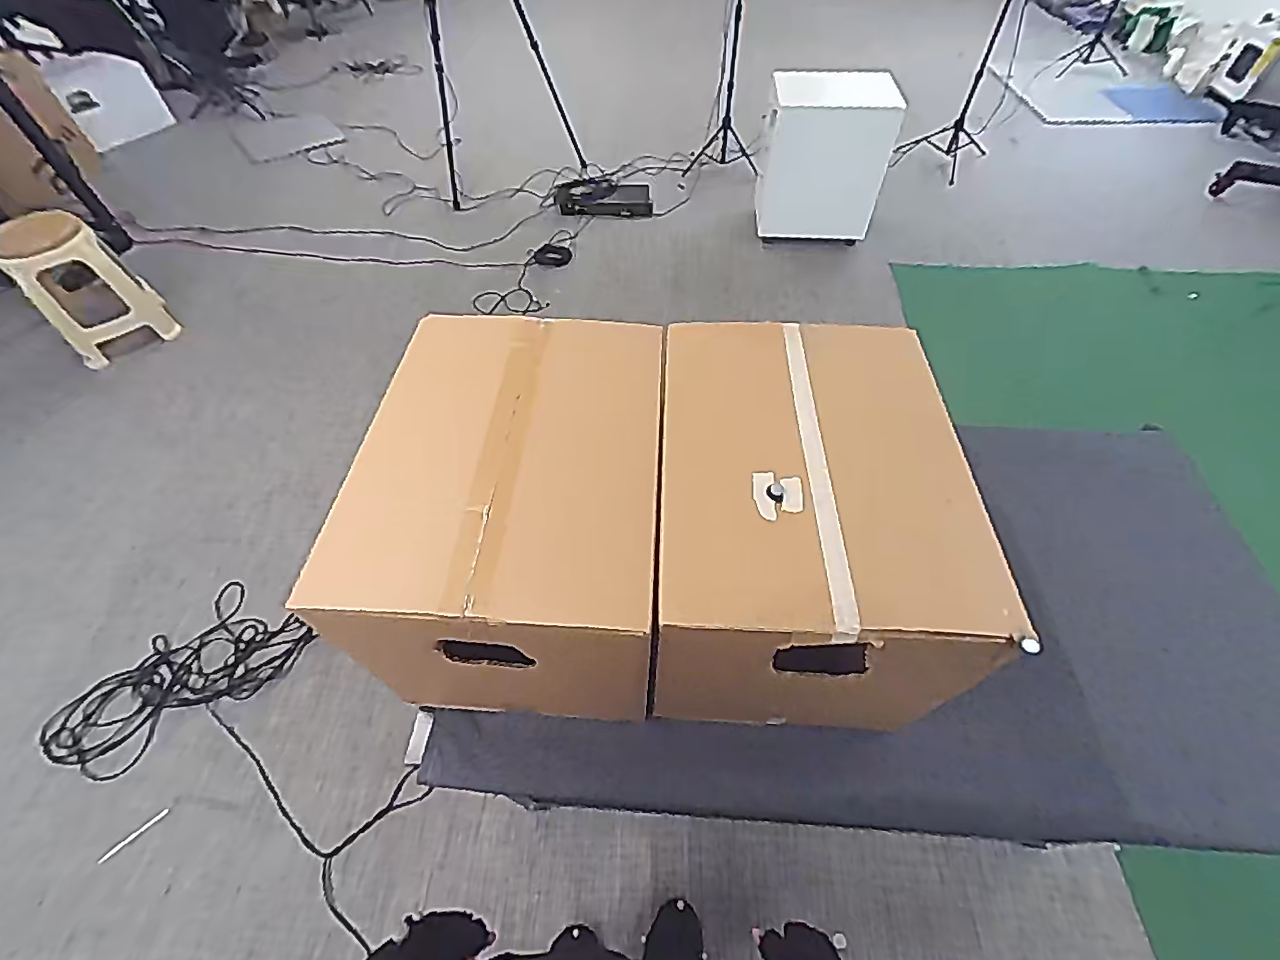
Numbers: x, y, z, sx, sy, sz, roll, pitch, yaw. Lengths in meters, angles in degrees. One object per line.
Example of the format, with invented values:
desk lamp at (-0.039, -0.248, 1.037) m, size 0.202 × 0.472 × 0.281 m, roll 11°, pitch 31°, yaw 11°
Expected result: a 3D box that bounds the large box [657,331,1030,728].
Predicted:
large box at (0.180, 0.062, 0.688) m, size 0.320 × 0.320 × 0.408 m, roll 1°, pitch 54°, yaw 3°
